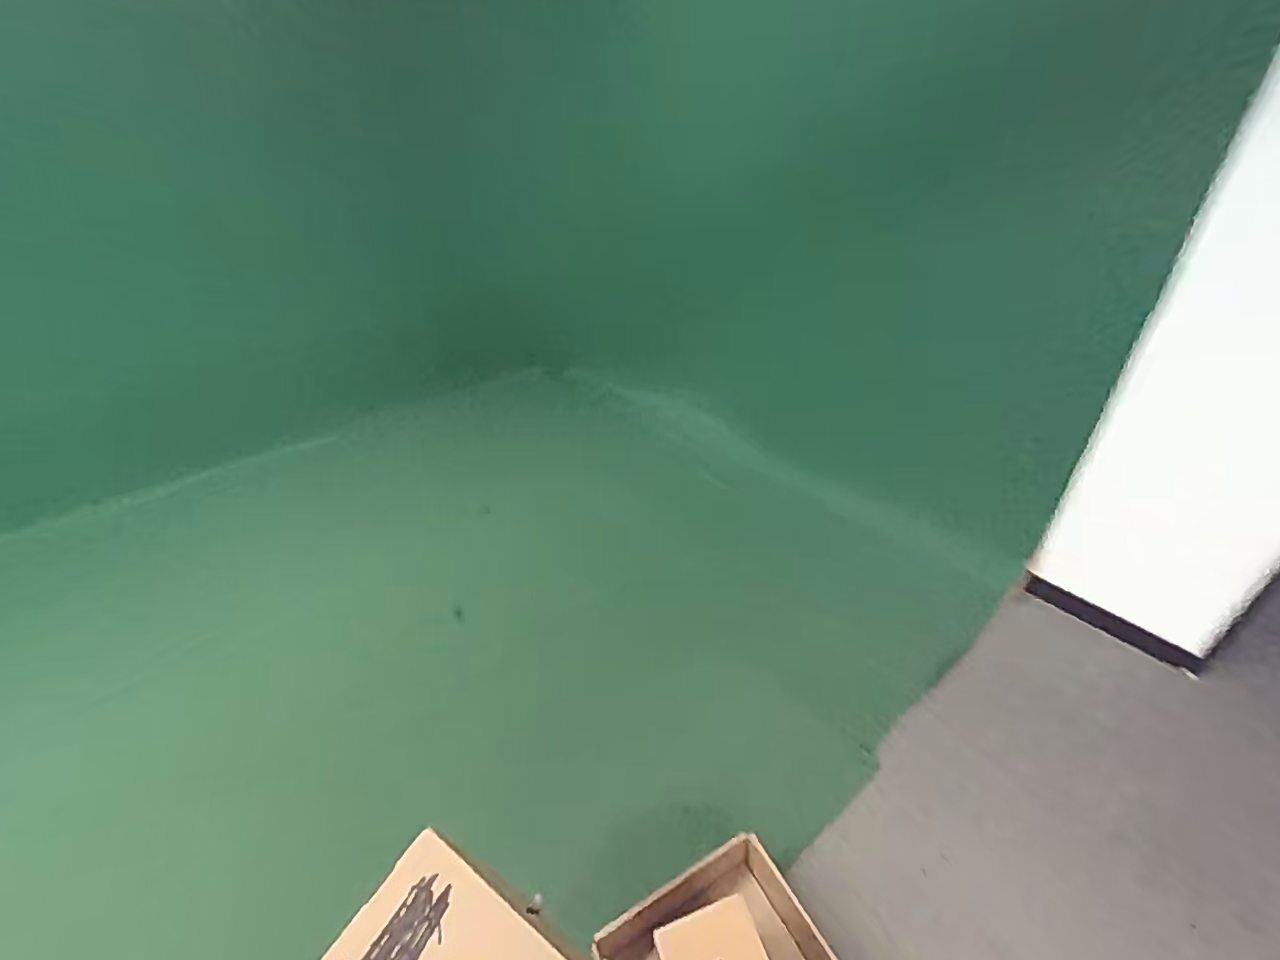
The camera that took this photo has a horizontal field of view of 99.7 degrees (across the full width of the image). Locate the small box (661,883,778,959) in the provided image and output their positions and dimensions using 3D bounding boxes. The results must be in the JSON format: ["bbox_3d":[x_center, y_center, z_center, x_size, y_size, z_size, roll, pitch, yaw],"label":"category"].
[{"bbox_3d":[0.140,0.835,0.913,0.168,0.176,0.179,-14,39,-12],"label":"small box"}]
